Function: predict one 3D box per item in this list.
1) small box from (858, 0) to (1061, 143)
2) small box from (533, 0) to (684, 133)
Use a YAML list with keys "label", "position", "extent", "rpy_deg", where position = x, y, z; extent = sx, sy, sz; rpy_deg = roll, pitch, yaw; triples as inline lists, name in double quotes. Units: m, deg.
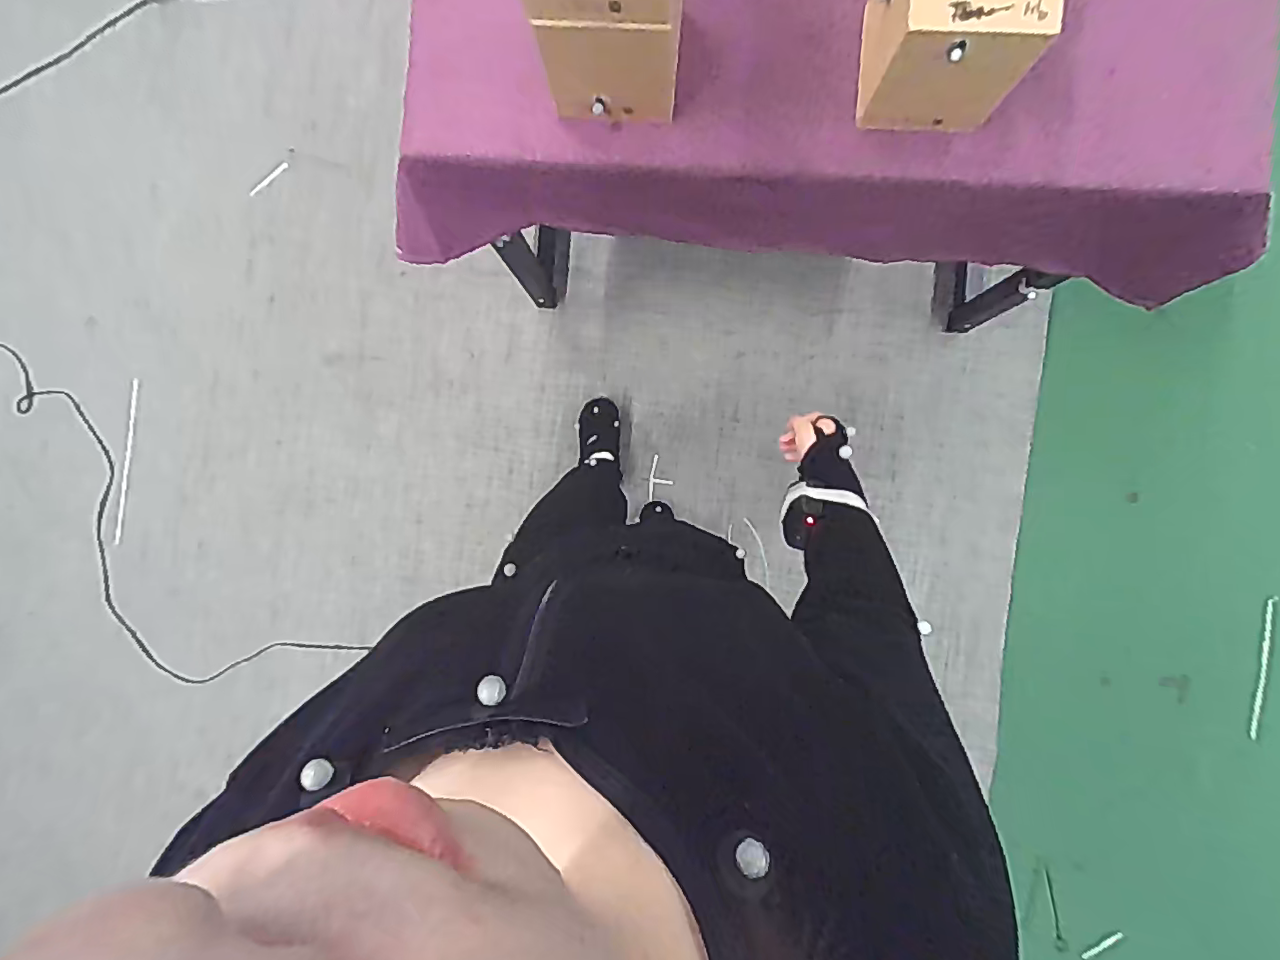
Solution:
- label: "small box"
  position: [0.388, -0.566, 0.679]
  extent: [0.168, 0.176, 0.179]
  rpy_deg: [5, 89, 4]
- label: "small box"
  position: [-0.031, -0.596, 0.701]
  extent: [0.168, 0.176, 0.179]
  rpy_deg: [6, 90, 3]
